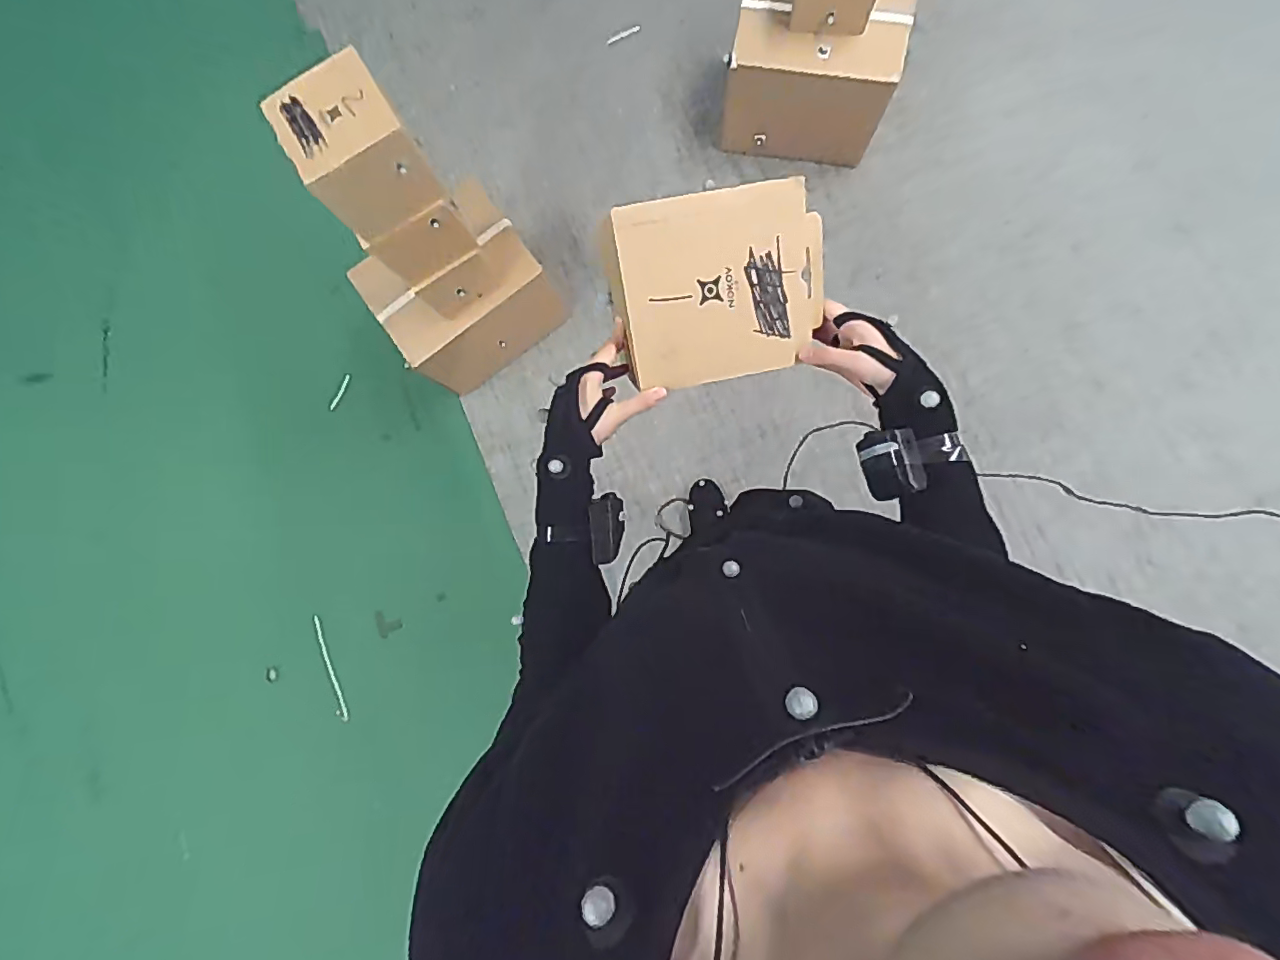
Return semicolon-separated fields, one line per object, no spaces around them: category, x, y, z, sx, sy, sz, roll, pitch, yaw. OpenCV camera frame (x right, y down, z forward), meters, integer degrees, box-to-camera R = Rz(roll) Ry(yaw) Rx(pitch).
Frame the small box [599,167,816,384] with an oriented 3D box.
small box;0.062;-0.207;0.557;0.179;0.176;0.168;-11;111;-5

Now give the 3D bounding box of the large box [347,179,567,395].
large box;-0.470;-0.495;1.465;0.408;0.320;0.320;-37;83;2

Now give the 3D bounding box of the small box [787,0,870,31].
small box;0.437;-1.145;1.196;0.179;0.176;0.168;7;84;4

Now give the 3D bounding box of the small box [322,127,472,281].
small box;-0.464;-0.525;1.057;0.179;0.176;0.168;-30;84;1

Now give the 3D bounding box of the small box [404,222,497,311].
small box;-0.451;-0.505;1.217;0.168;0.176;0.179;-31;84;1
